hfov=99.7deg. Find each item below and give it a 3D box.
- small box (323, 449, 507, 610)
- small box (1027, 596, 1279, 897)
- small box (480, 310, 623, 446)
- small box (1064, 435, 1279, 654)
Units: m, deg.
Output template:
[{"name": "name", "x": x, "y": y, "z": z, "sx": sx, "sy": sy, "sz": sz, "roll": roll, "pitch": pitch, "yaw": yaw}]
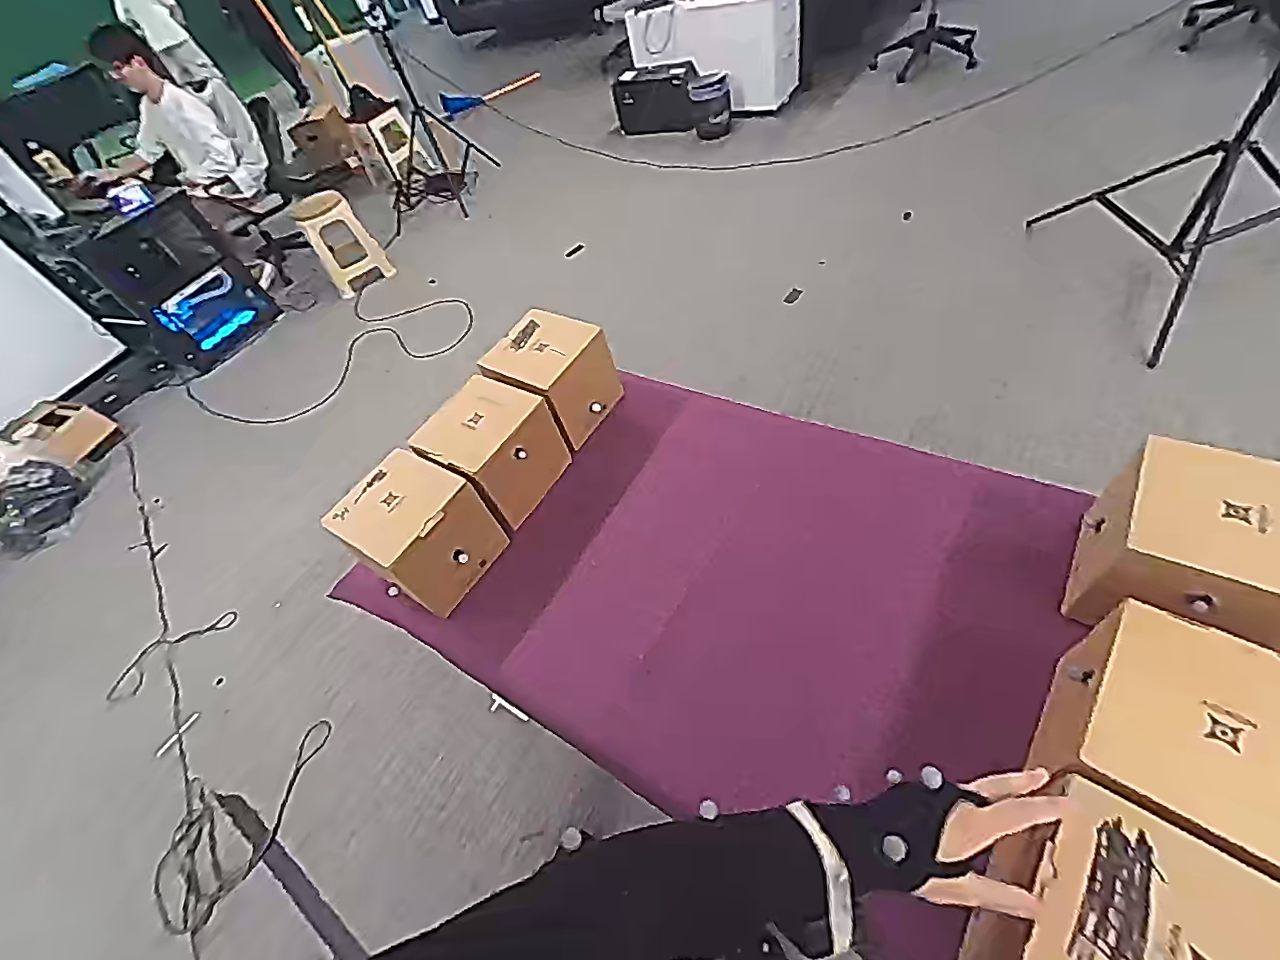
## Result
[{"name": "small box", "x": -0.345, "y": 0.084, "z": 0.863, "sx": 0.179, "sy": 0.176, "sz": 0.168, "roll": 22, "pitch": 60, "yaw": 27}, {"name": "small box", "x": 0.498, "y": 0.250, "z": 0.507, "sx": 0.168, "sy": 0.176, "sz": 0.179, "roll": 25, "pitch": 62, "yaw": 31}, {"name": "small box", "x": -0.159, "y": -0.189, "z": 1.023, "sx": 0.179, "sy": 0.176, "sz": 0.168, "roll": 23, "pitch": 64, "yaw": 28}, {"name": "small box", "x": 0.613, "y": 0.083, "z": 0.598, "sx": 0.179, "sy": 0.176, "sz": 0.168, "roll": 22, "pitch": 62, "yaw": 28}]
